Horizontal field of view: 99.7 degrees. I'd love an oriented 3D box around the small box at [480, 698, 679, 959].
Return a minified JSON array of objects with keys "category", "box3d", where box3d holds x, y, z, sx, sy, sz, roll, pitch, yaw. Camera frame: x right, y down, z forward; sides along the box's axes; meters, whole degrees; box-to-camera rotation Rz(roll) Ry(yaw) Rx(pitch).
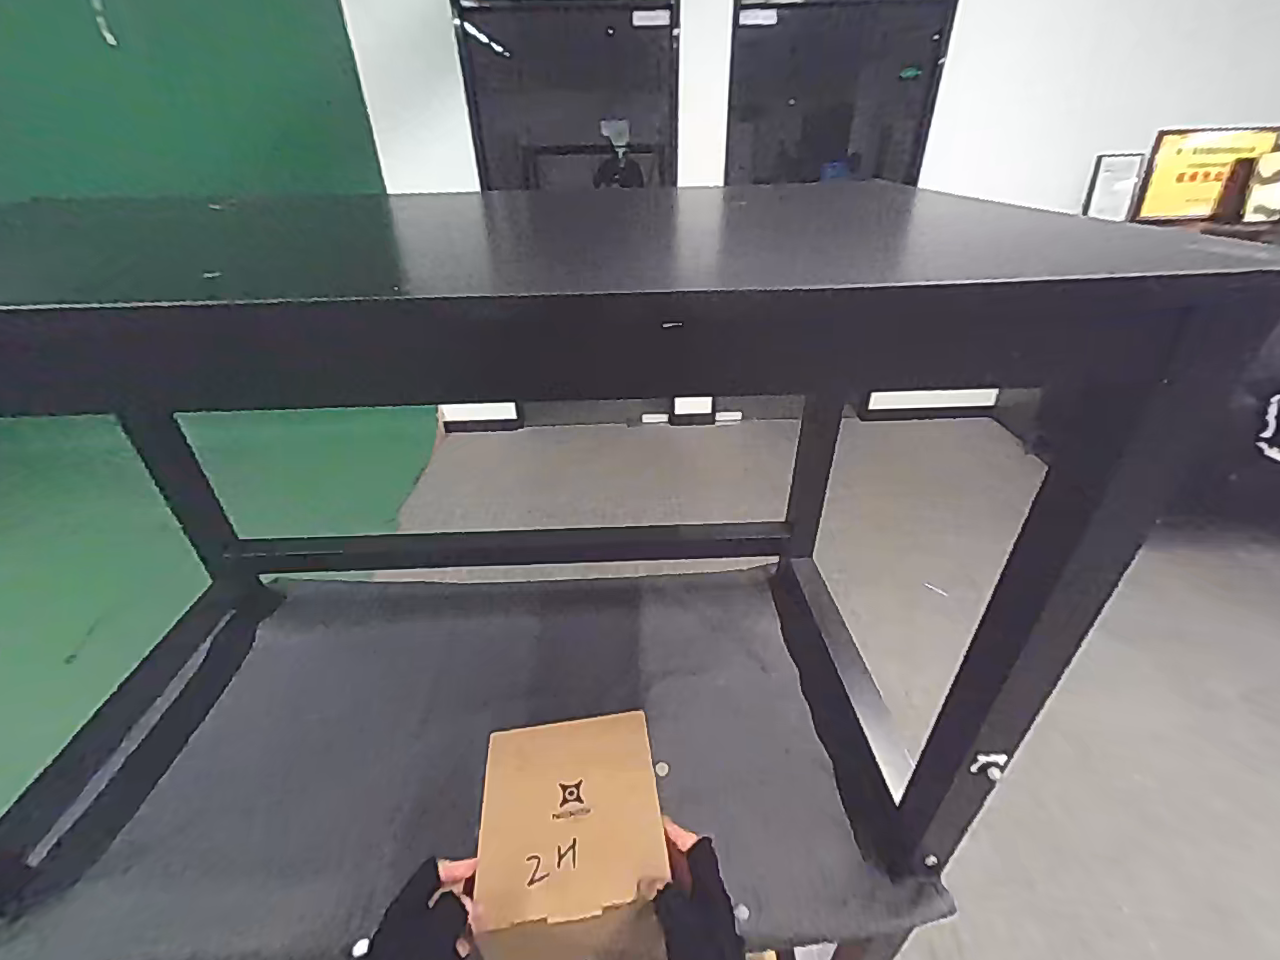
[{"category":"small box","box3d":[-0.057,0.358,0.553,0.168,0.176,0.179,-7,32,-5]}]
